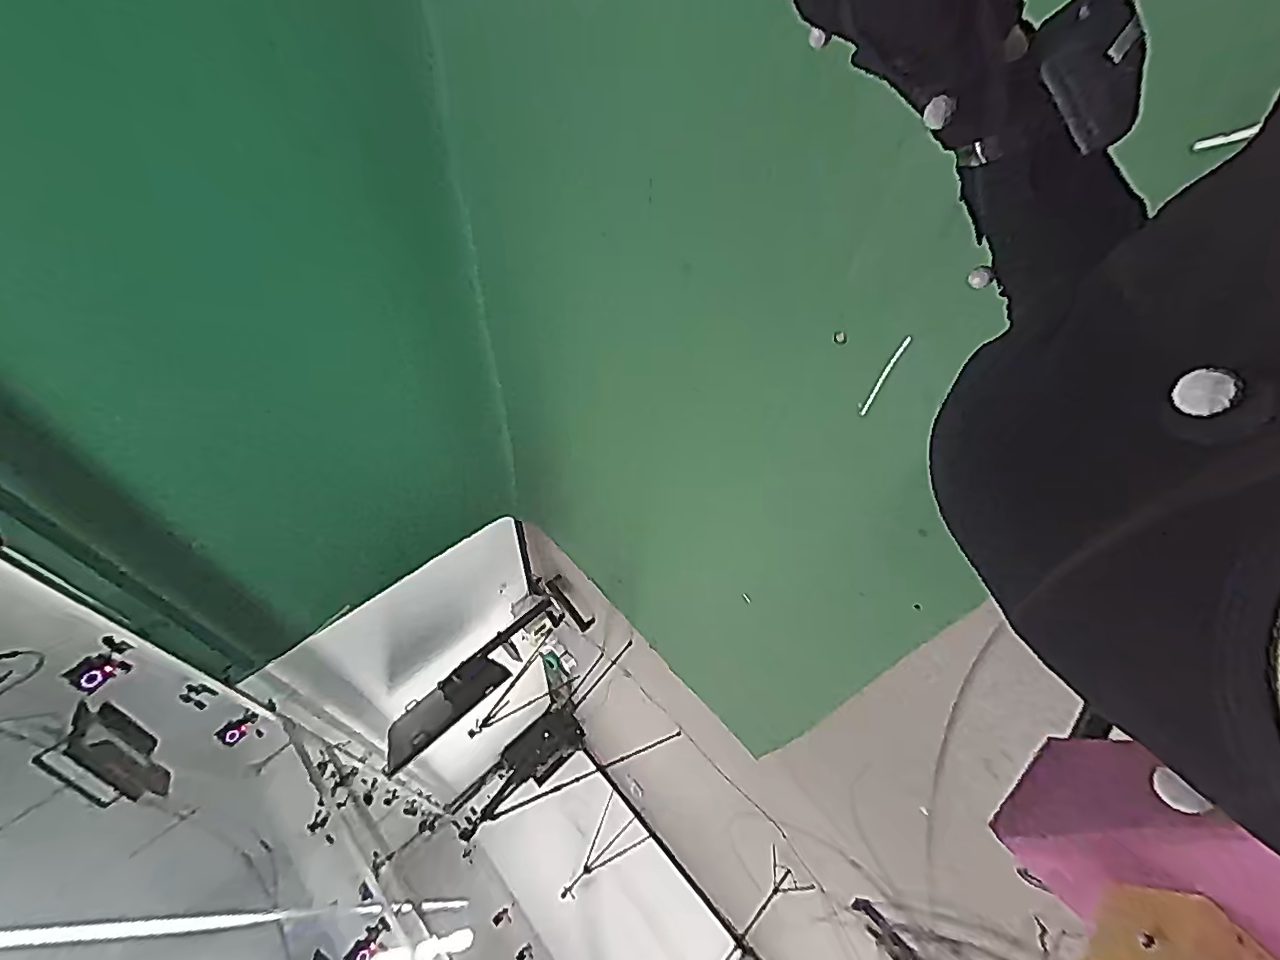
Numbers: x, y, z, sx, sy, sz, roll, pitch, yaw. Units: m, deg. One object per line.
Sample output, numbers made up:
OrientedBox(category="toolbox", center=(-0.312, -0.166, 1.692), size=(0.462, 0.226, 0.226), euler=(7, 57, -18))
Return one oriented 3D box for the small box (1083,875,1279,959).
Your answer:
OrientedBox(category="small box", center=(0.894, 0.792, 0.886), size=(0.168, 0.176, 0.179), euler=(46, 151, 16))
